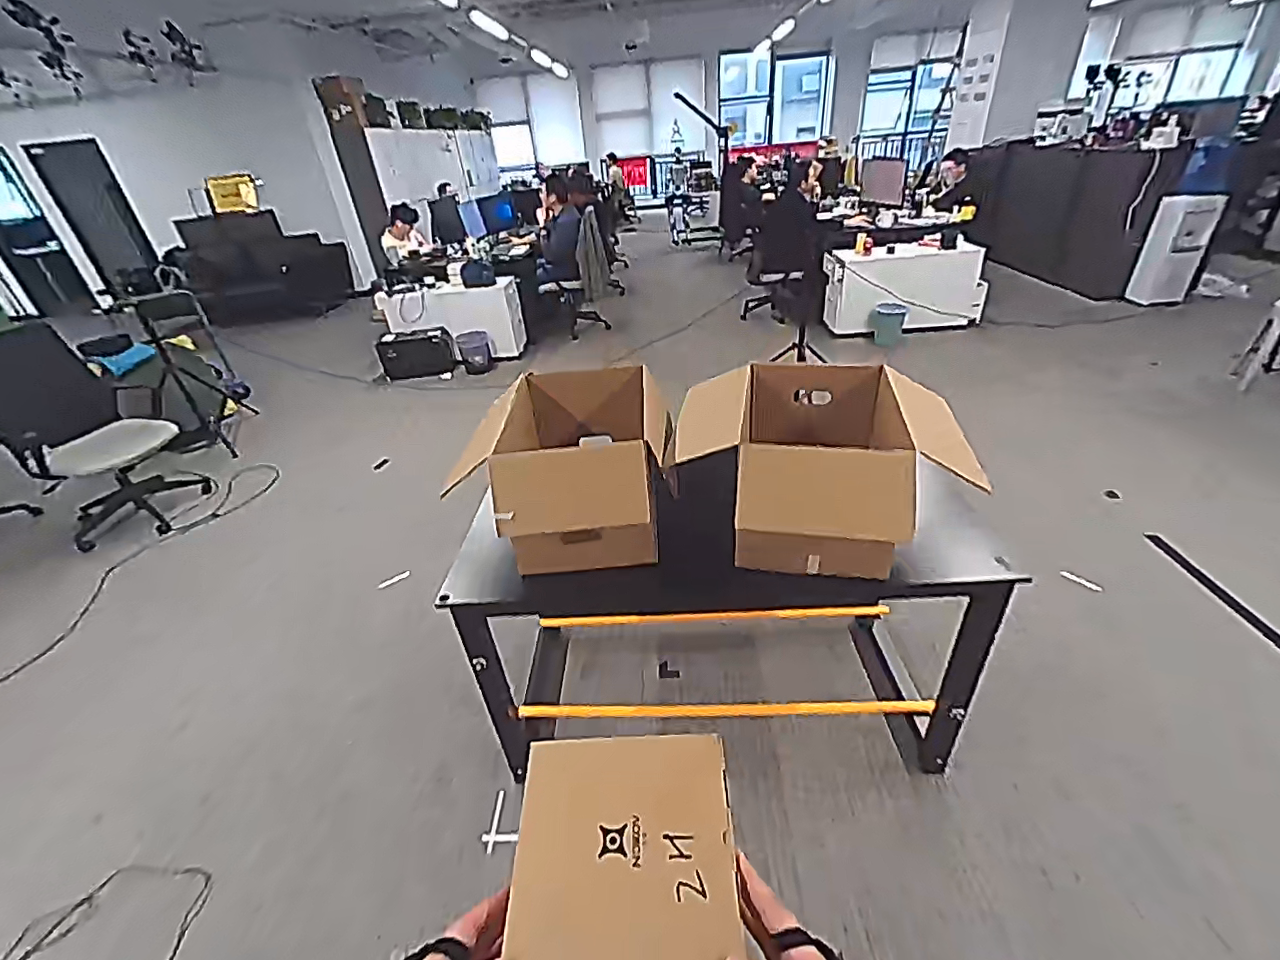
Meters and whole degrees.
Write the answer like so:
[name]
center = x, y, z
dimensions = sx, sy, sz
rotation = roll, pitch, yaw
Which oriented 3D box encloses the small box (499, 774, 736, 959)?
[small box]
center = -0.010, 0.378, 0.472
dimensions = 0.179, 0.176, 0.168
rotation = -4, 41, 3
